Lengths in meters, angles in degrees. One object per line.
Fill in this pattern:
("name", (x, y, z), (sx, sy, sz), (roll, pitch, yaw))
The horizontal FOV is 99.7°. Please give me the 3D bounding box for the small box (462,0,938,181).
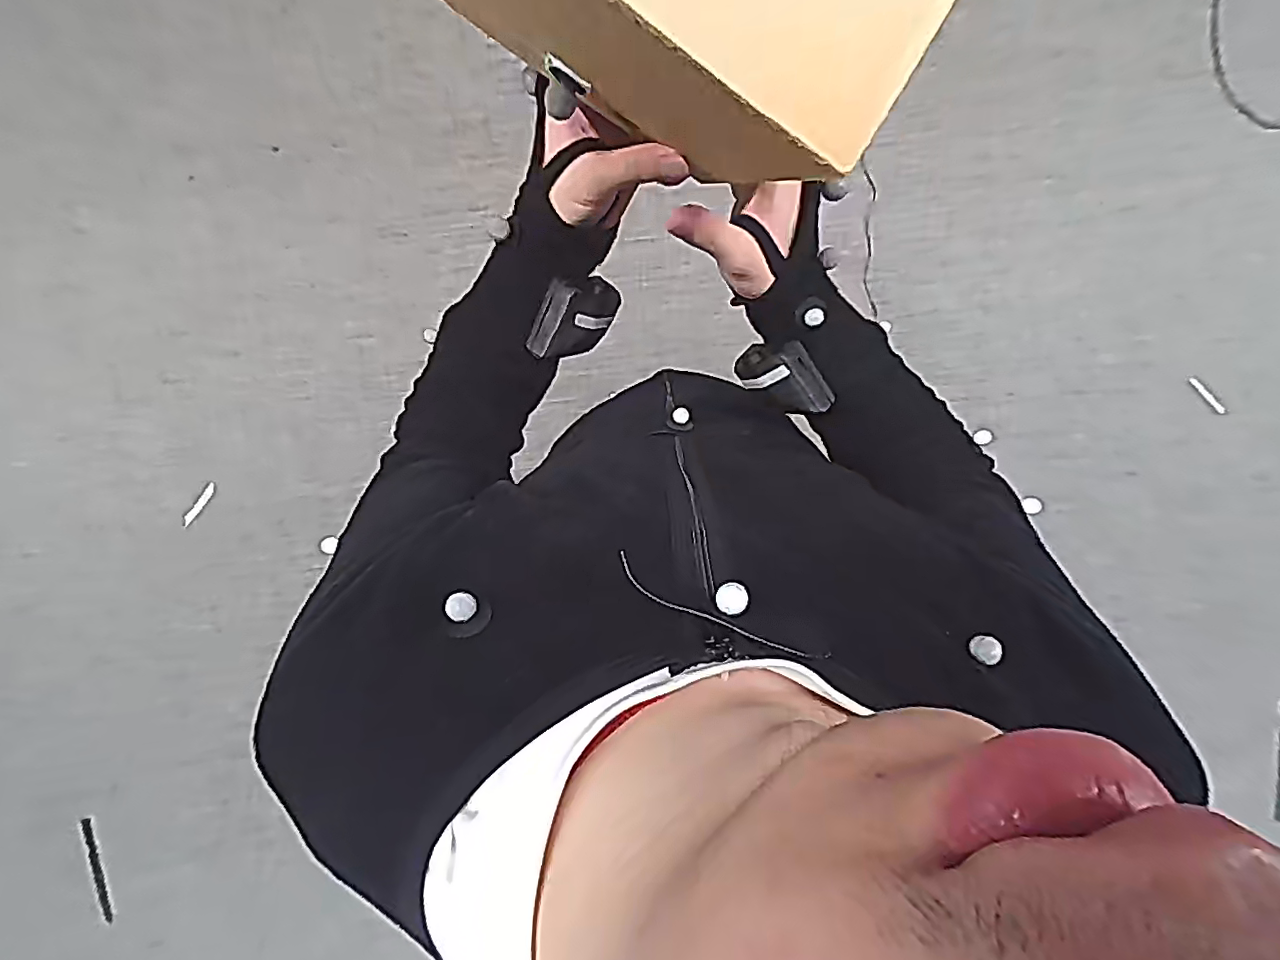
("small box", (0.026, -0.247, 0.212), (0.168, 0.176, 0.179), (22, 111, -22))
